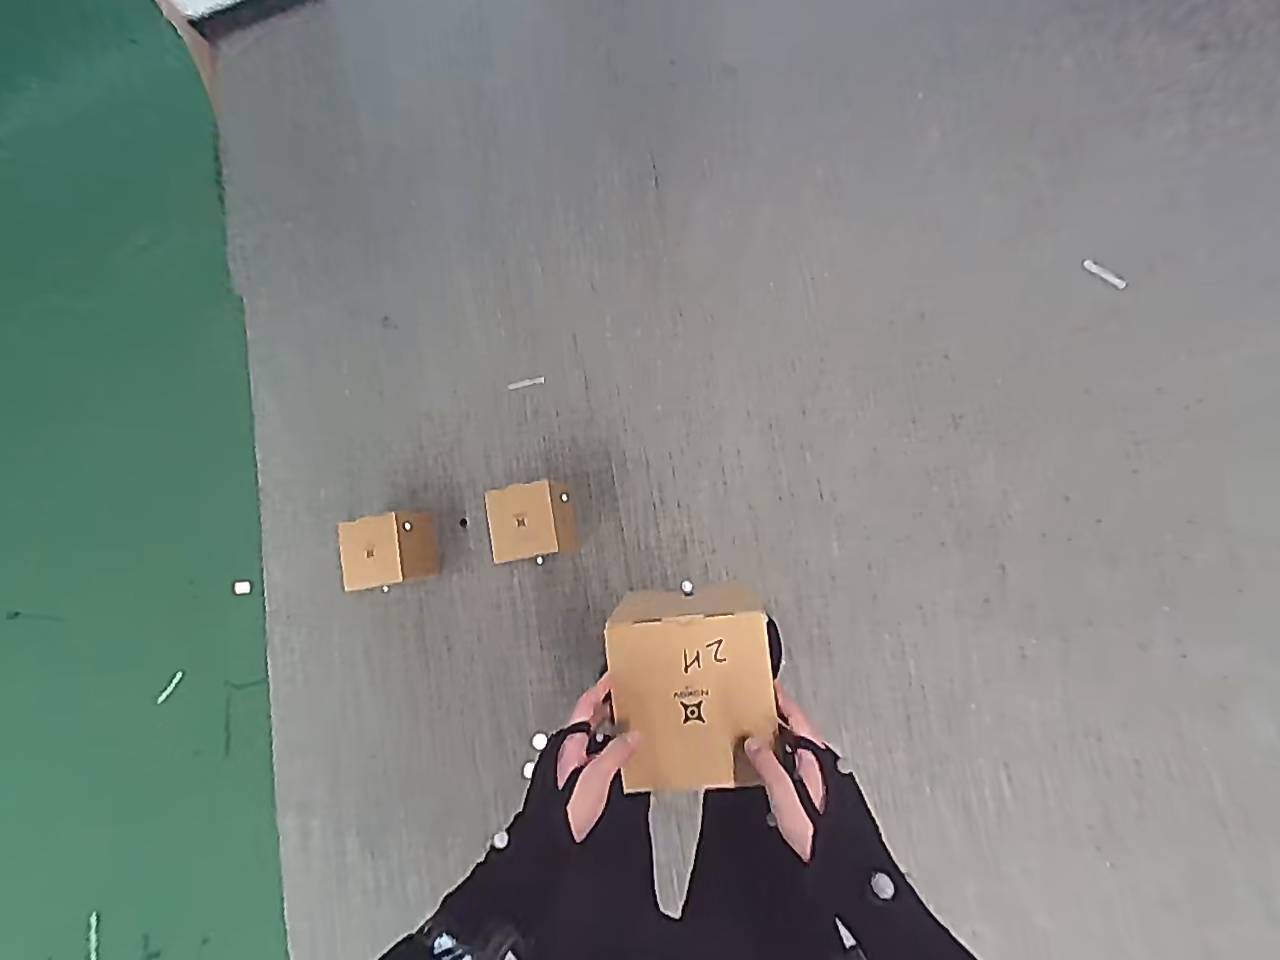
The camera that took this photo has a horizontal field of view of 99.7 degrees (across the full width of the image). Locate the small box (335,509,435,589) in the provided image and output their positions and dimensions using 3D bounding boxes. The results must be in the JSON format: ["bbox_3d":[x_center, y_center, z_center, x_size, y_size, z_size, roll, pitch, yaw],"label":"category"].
[{"bbox_3d":[-0.654,0.178,1.403,0.168,0.176,0.179,-12,81,10],"label":"small box"}]

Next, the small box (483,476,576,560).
[{"bbox_3d":[-0.268,0.099,1.340,0.168,0.176,0.179,-11,82,9],"label":"small box"}]
